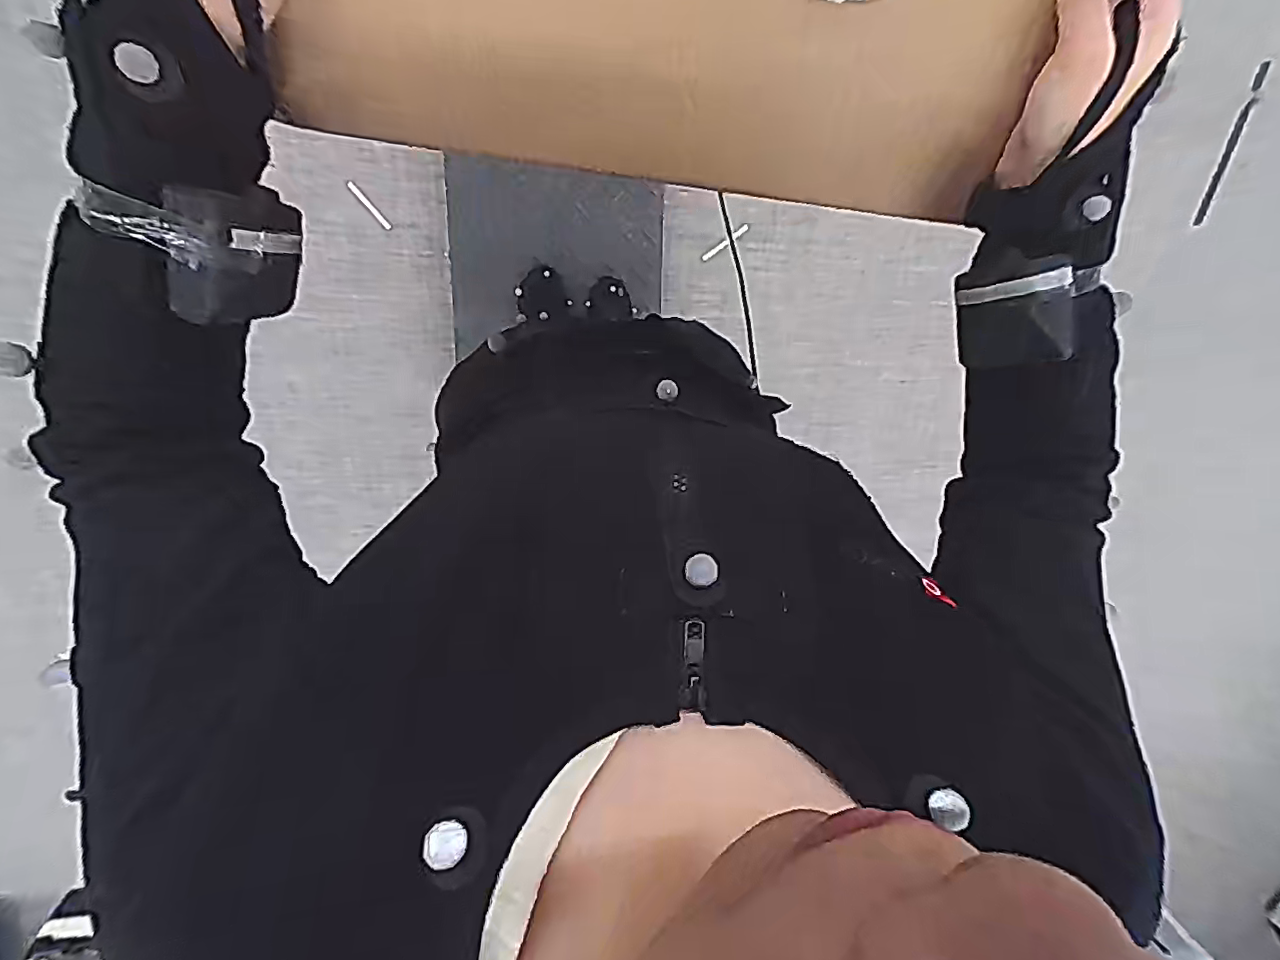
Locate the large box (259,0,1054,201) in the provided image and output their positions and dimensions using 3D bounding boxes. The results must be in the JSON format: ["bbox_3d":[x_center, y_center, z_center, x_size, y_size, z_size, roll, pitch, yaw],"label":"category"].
[{"bbox_3d":[0.011,-0.393,0.333,0.408,0.320,0.320,1,129,-12],"label":"large box"}]
